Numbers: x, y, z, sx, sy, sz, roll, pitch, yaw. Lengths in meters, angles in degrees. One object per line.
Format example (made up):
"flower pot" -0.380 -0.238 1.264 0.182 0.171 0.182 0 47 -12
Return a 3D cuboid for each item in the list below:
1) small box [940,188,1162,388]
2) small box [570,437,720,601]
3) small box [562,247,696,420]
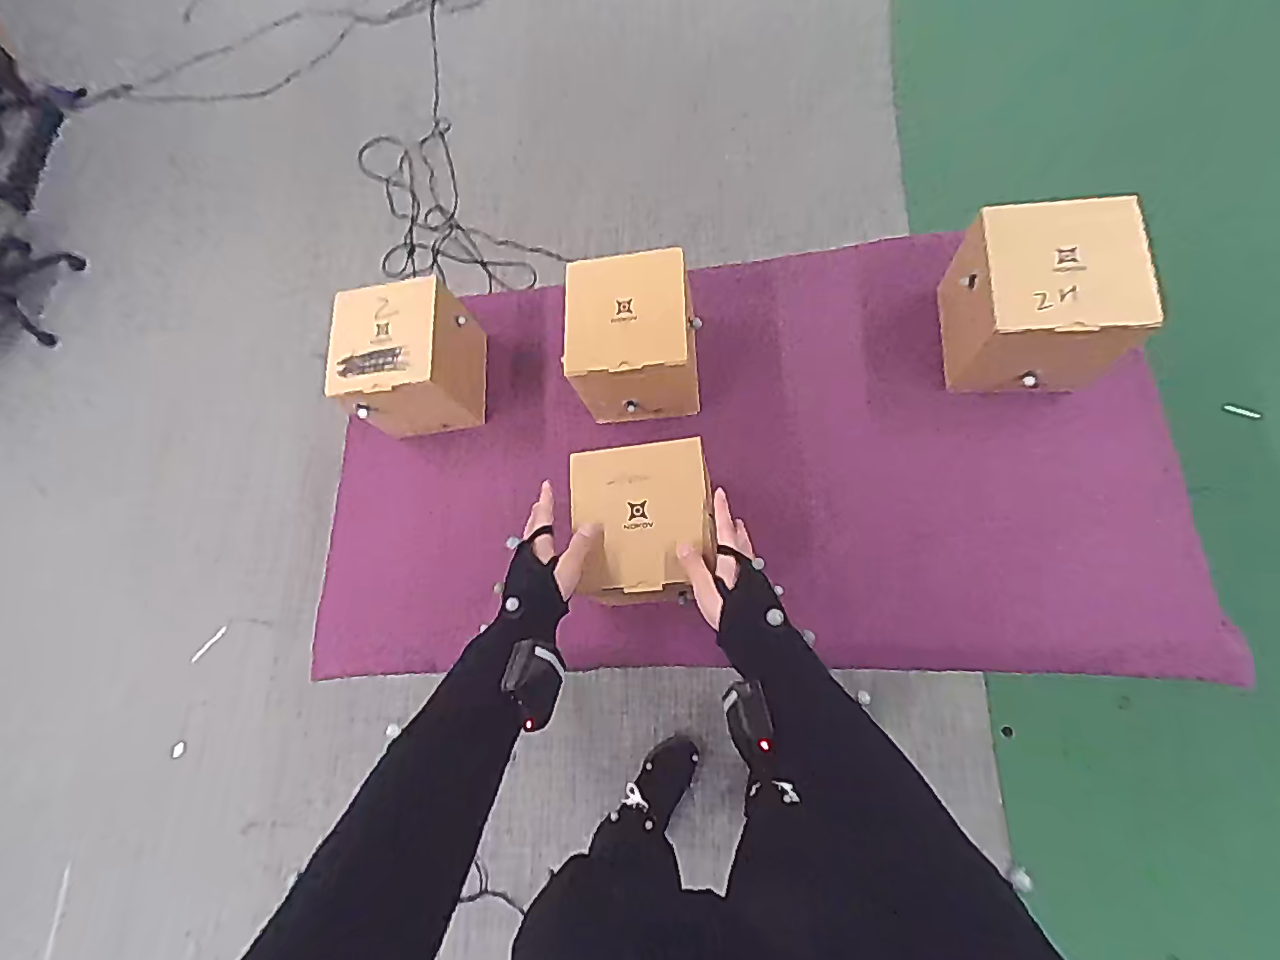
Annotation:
"small box" 0.501 -0.234 0.693 0.168 0.176 0.179 1 75 13
"small box" 0.012 0.062 0.706 0.168 0.176 0.179 -7 71 9
"small box" -0.009 -0.203 0.789 0.168 0.176 0.179 -5 74 10
